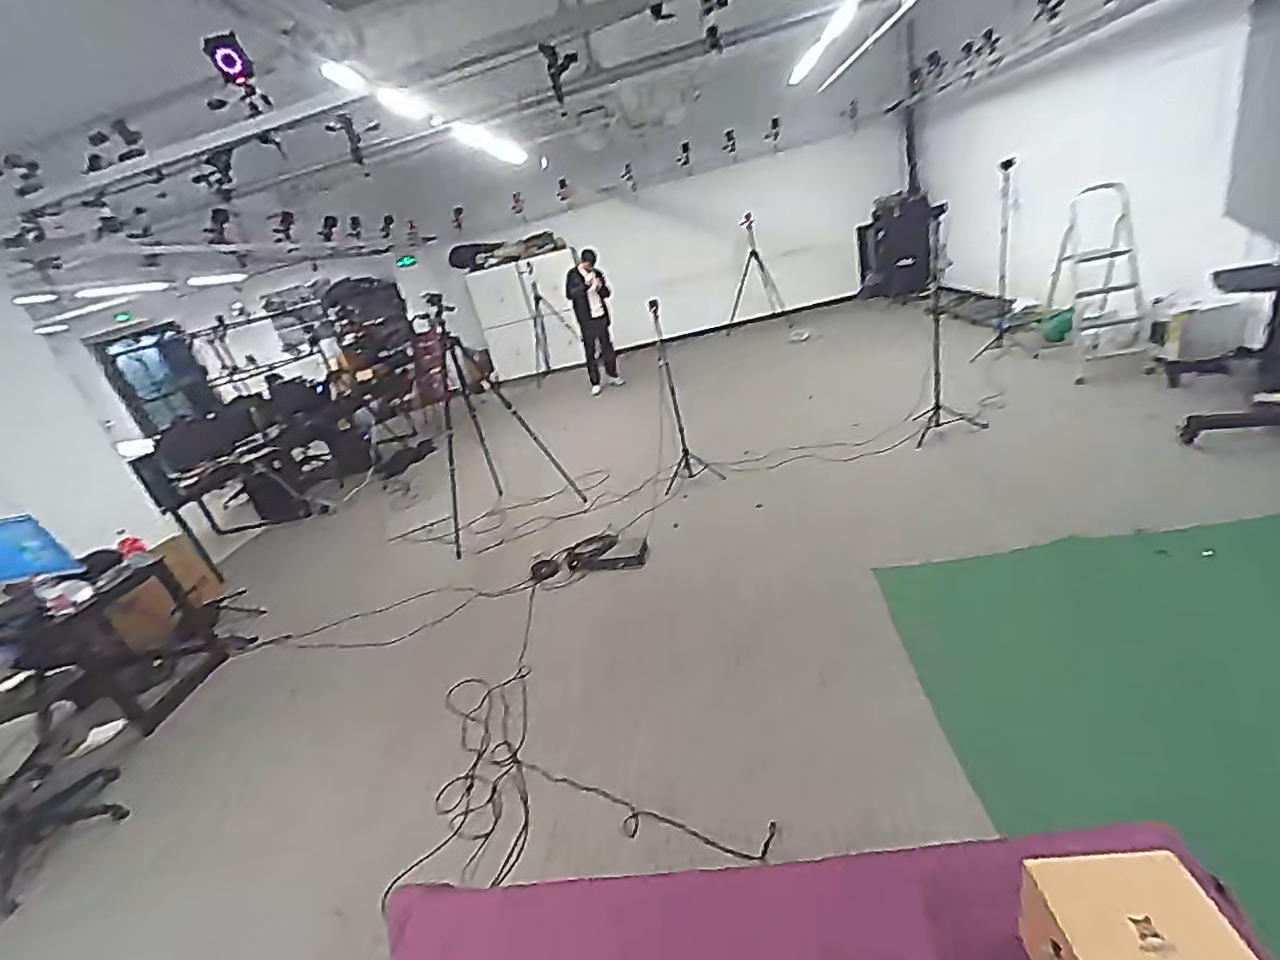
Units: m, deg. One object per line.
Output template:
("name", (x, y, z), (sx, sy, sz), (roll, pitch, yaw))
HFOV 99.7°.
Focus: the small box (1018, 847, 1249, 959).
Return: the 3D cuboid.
("small box", (0.569, 0.569, 0.625), (0.168, 0.176, 0.179), (-12, 24, 10))
